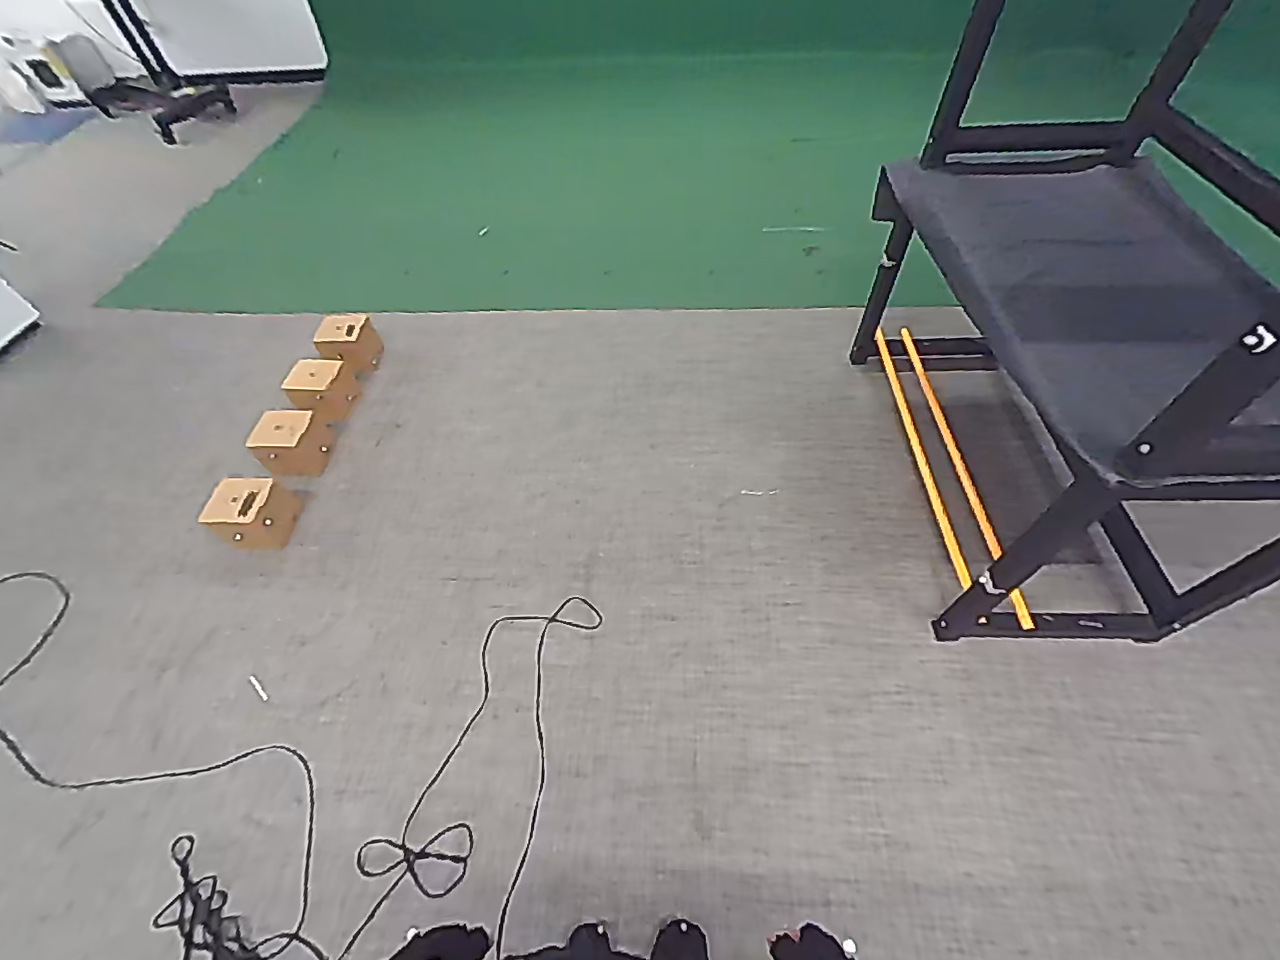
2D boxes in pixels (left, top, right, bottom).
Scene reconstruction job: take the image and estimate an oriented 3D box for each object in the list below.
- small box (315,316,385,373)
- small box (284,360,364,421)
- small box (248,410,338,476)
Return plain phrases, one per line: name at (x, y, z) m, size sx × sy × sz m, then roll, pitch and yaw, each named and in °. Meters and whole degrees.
small box at (-1.179, -0.553, 2.216) m, size 0.179 × 0.176 × 0.168 m, roll -1°, pitch 53°, yaw 2°
small box at (-1.191, -0.339, 2.054) m, size 0.179 × 0.176 × 0.168 m, roll 2°, pitch 53°, yaw 4°
small box at (-1.202, -0.127, 1.889) m, size 0.179 × 0.176 × 0.168 m, roll 1°, pitch 54°, yaw 3°
